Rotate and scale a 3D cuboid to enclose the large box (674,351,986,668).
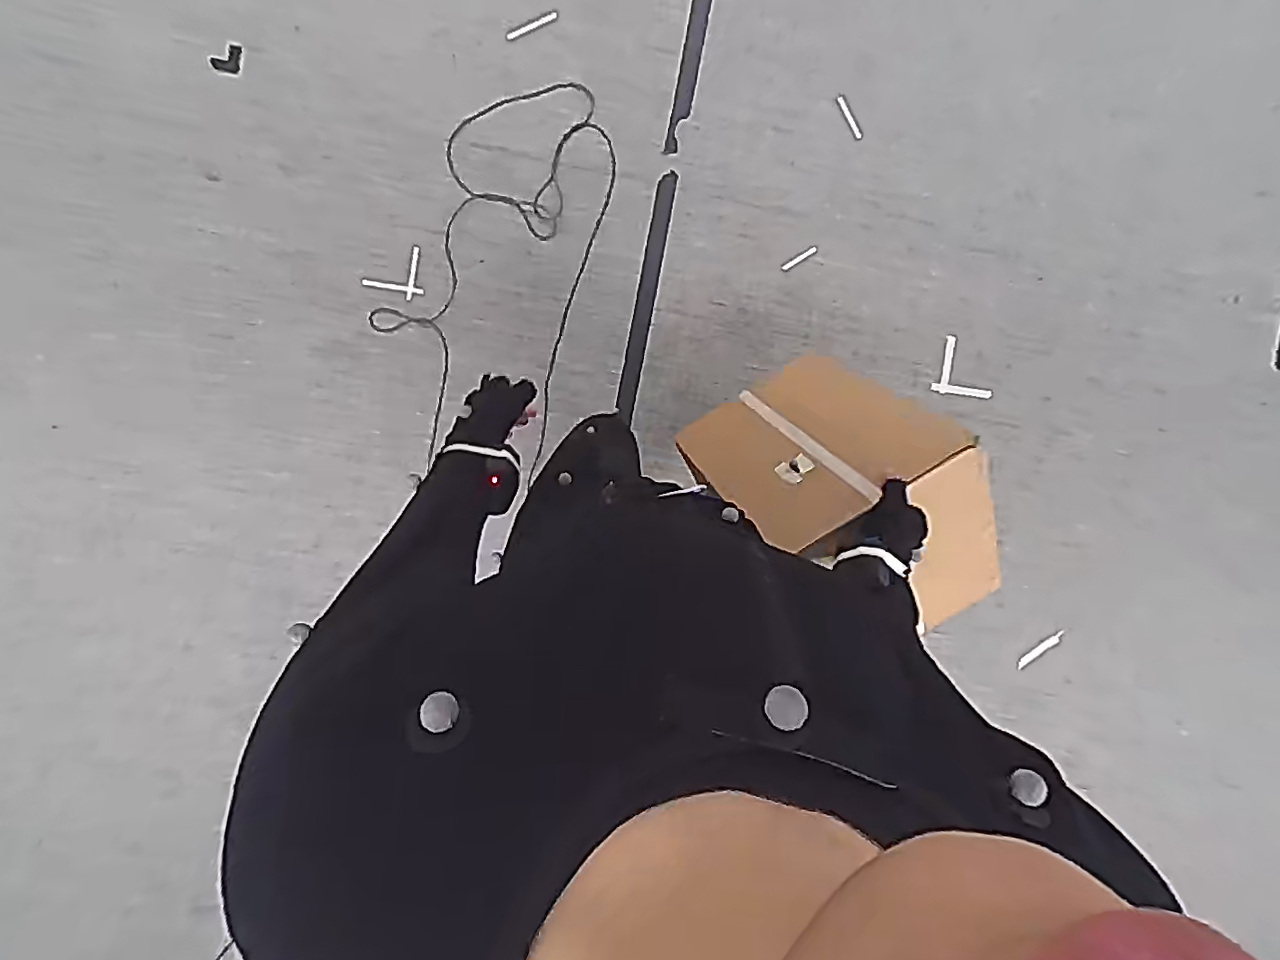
[{"bbox_3d":[0.315,0.033,0.949,0.320,0.408,0.320,-32,126,1],"label":"large box"}]
